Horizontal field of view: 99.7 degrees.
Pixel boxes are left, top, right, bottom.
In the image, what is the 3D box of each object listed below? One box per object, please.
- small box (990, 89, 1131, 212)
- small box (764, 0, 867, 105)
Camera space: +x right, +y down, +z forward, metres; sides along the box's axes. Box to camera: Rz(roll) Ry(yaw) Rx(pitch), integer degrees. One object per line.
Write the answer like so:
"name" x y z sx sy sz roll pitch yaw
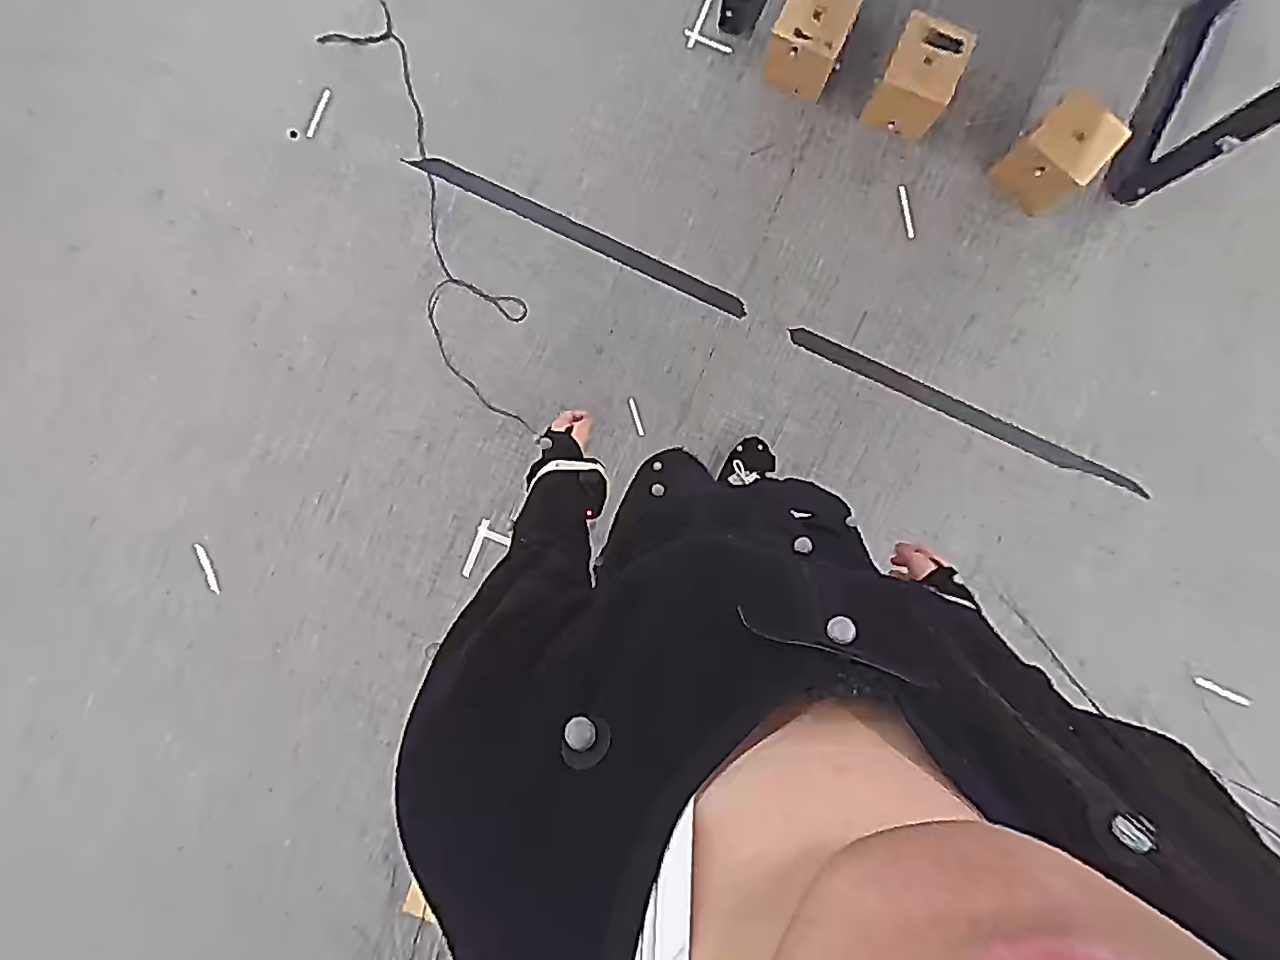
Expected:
"small box" 1.033 -0.802 1.343 0.179 0.176 0.168 42 94 2
"small box" 0.430 -1.103 1.356 0.168 0.176 0.179 26 92 1
